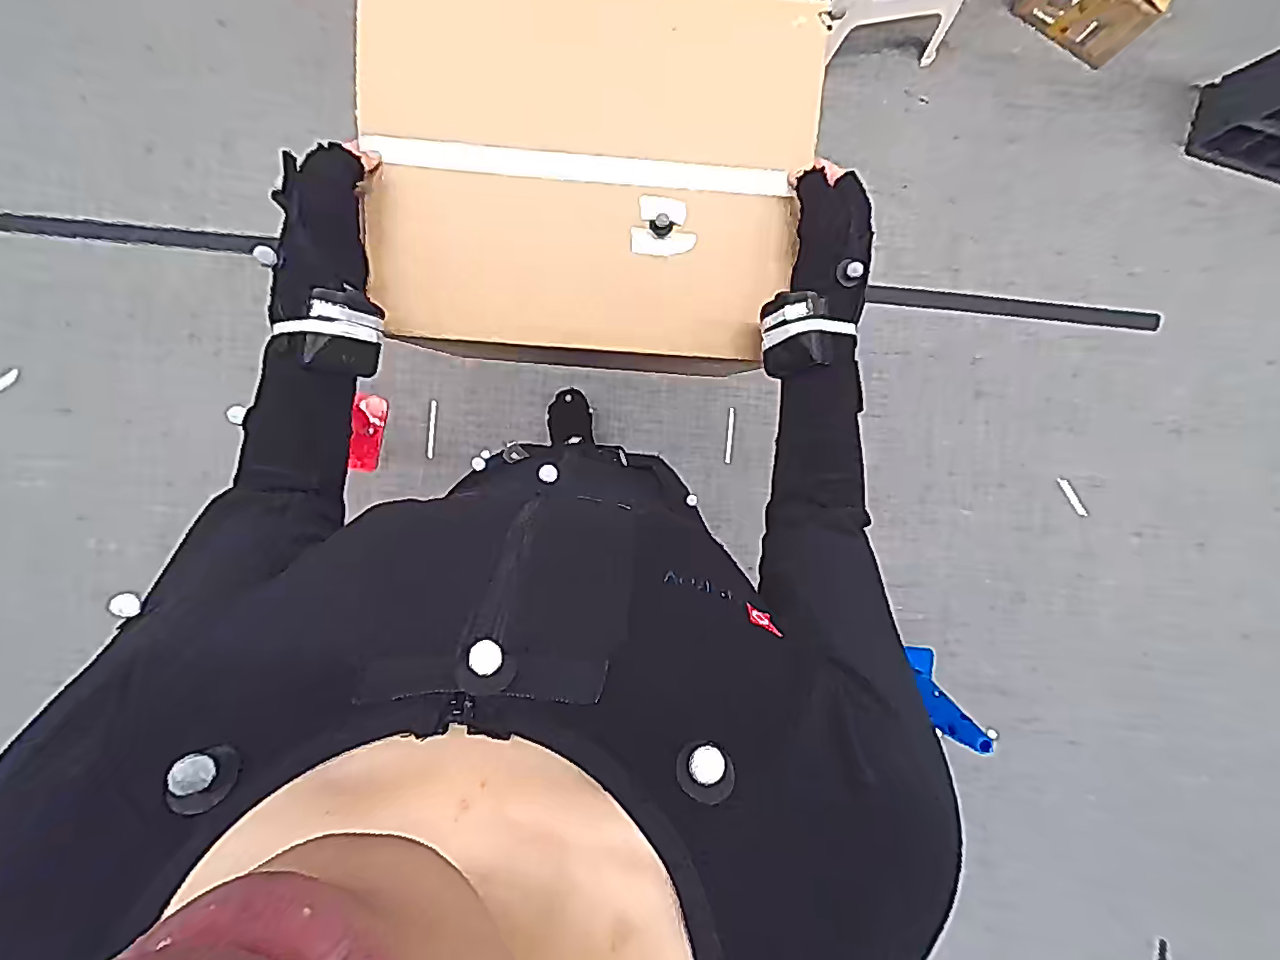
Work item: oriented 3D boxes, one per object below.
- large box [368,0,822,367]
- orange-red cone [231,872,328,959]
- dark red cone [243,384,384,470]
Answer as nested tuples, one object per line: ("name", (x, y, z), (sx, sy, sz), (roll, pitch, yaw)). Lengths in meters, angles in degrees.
("large box", (-0.052, -0.309, 0.637), (0.408, 0.320, 0.320), (3, 99, -4))
("orange-red cone", (-0.929, 1.155, 1.273), (0.198, 0.360, 0.199), (2, 93, -2))
("dark red cone", (-0.755, -0.133, 1.222), (0.201, 0.394, 0.202), (10, 91, -5))
